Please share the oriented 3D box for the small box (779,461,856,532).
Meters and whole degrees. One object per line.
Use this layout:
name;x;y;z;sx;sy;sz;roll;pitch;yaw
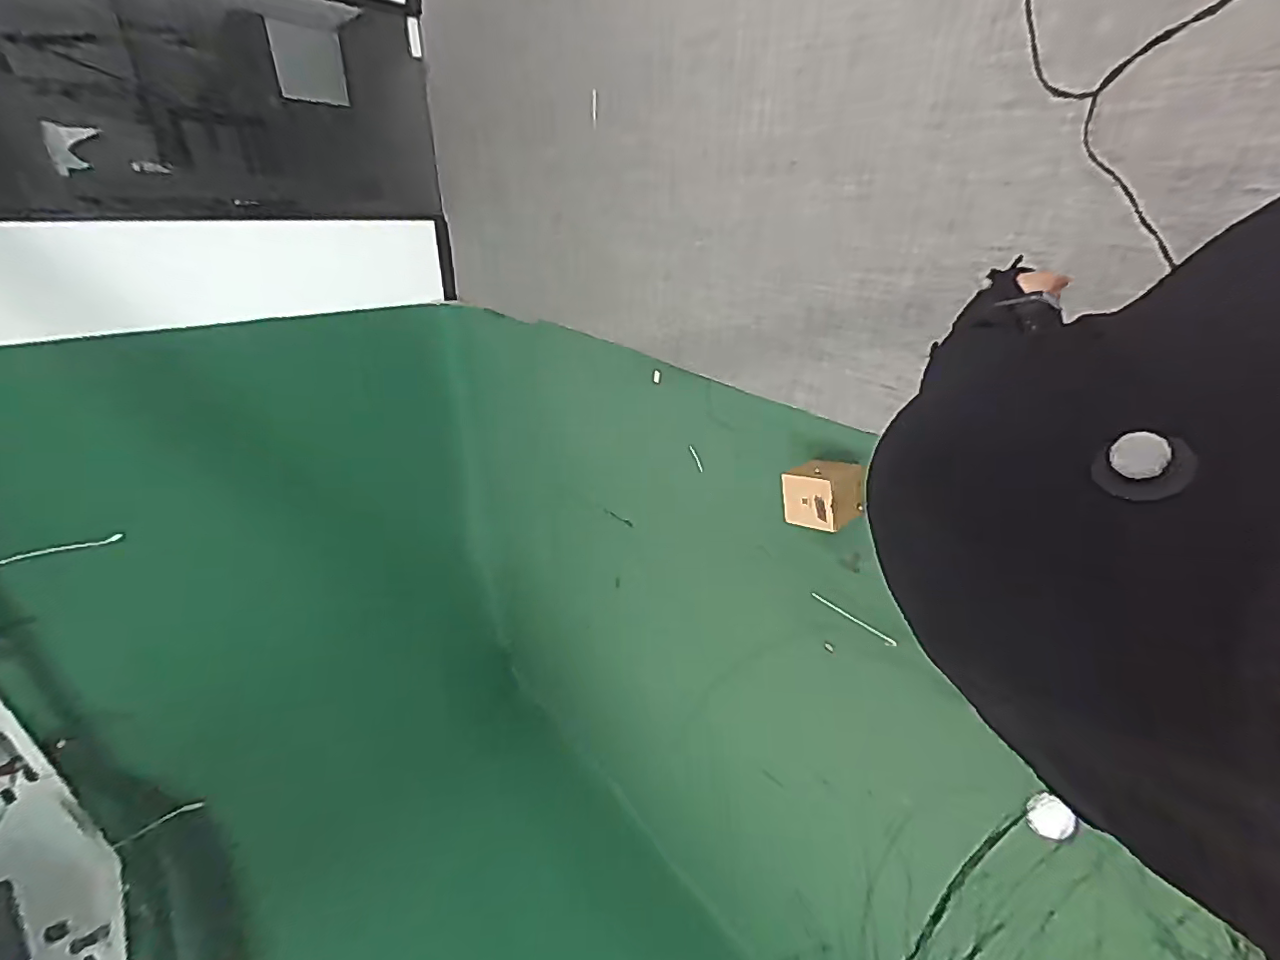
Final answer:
small box;0.559;0.044;1.687;0.179;0.176;0.168;11;114;49
